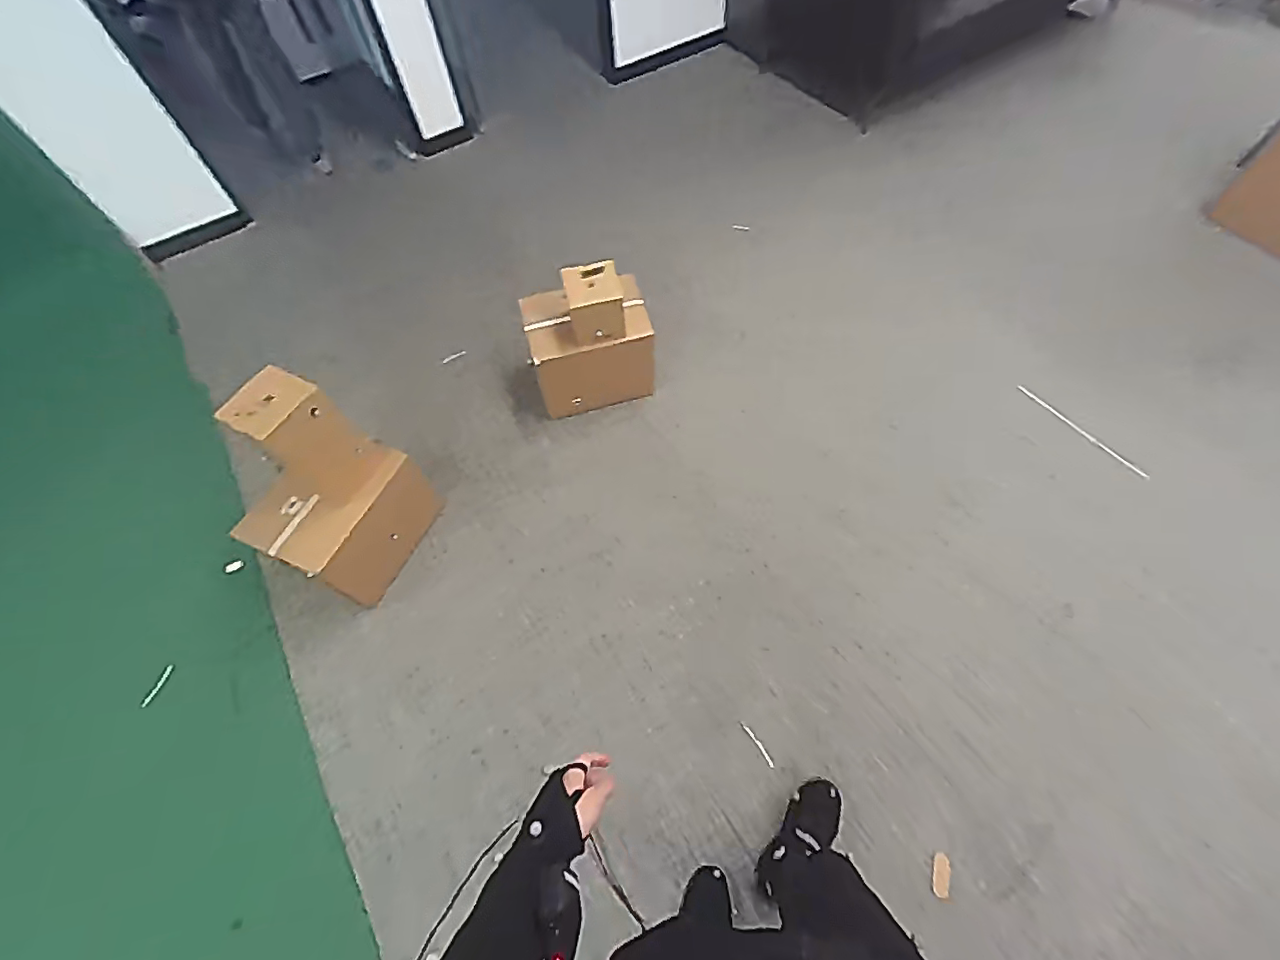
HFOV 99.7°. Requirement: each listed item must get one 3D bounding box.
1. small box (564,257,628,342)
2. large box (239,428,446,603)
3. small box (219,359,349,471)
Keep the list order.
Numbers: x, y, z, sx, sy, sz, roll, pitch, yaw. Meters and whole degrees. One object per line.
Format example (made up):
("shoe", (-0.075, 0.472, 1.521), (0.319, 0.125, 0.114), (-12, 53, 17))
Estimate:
("small box", (-0.136, -0.566, 1.702), (0.168, 0.176, 0.179), (-12, 62, -4))
("large box", (-0.871, 0.100, 1.648), (0.320, 0.320, 0.408), (19, 64, 15))
("small box", (-0.851, -0.155, 1.318), (0.168, 0.176, 0.179), (24, 65, 16))
